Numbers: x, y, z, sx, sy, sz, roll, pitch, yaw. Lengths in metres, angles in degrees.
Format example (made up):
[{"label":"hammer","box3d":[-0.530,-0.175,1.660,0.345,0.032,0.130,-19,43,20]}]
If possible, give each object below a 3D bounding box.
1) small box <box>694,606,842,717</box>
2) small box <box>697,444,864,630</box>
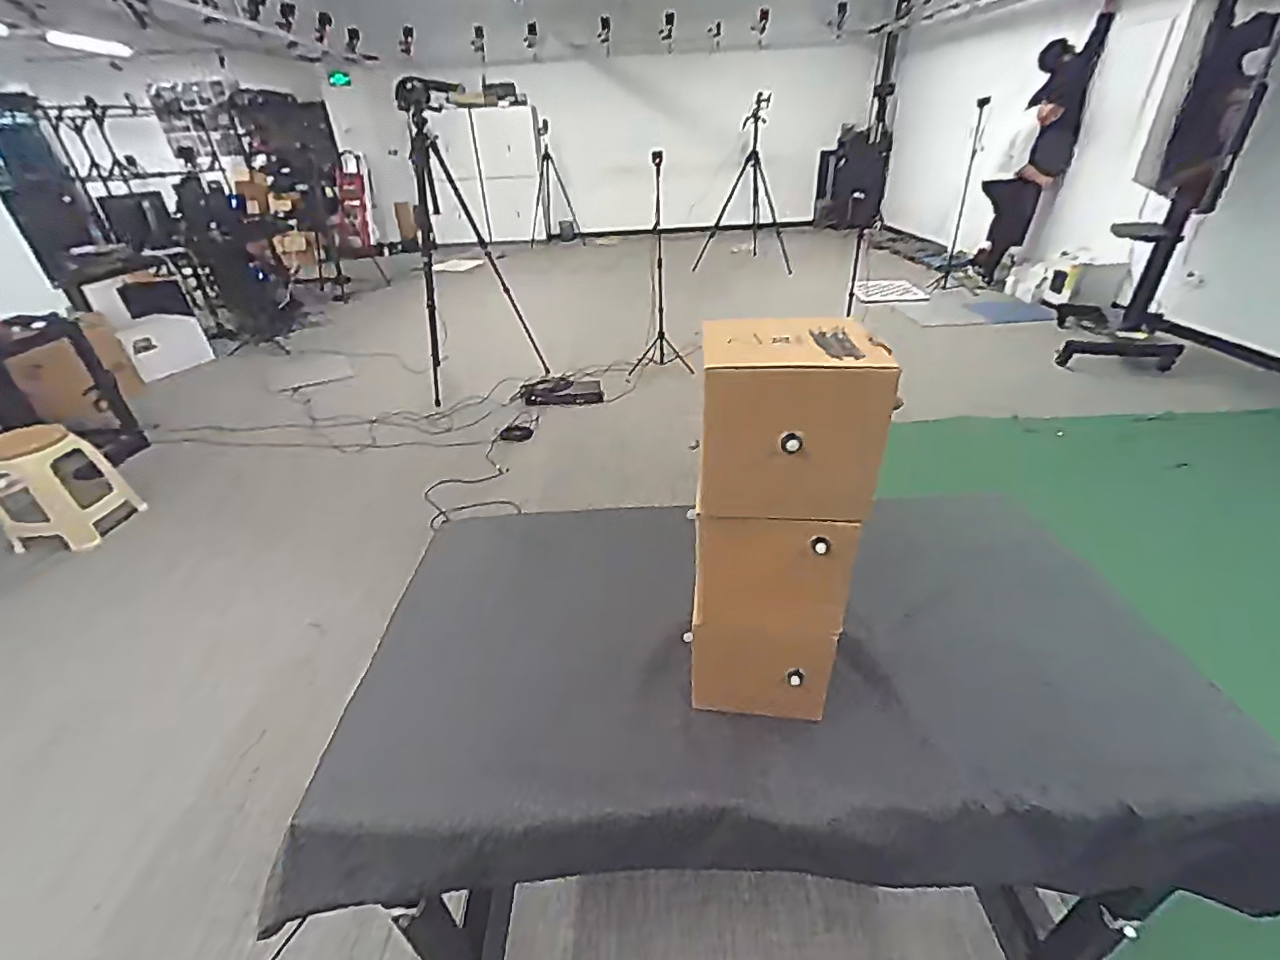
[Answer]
[{"label":"small box","box3d":[0.169,0.208,0.759,0.179,0.176,0.168,1,31,9]},{"label":"small box","box3d":[0.163,0.068,0.677,0.179,0.176,0.168,3,32,8]}]
